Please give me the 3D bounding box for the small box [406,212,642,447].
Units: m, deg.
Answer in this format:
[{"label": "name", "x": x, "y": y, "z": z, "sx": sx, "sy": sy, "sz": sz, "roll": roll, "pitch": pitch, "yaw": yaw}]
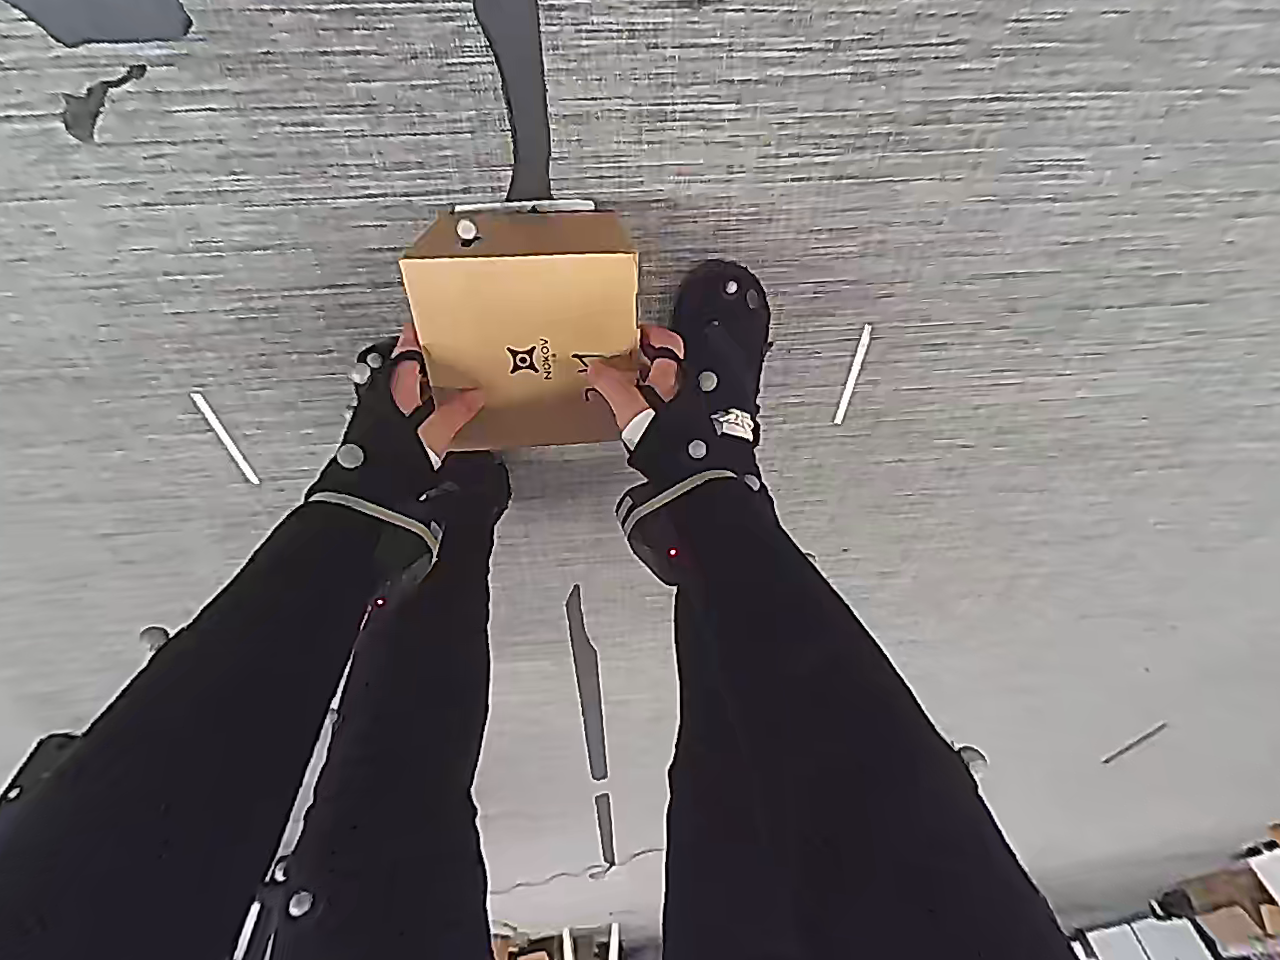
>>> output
[{"label": "small box", "x": -0.096, "y": -0.147, "z": 0.510, "sx": 0.179, "sy": 0.176, "sz": 0.168, "roll": -4, "pitch": 127, "yaw": -7}]
